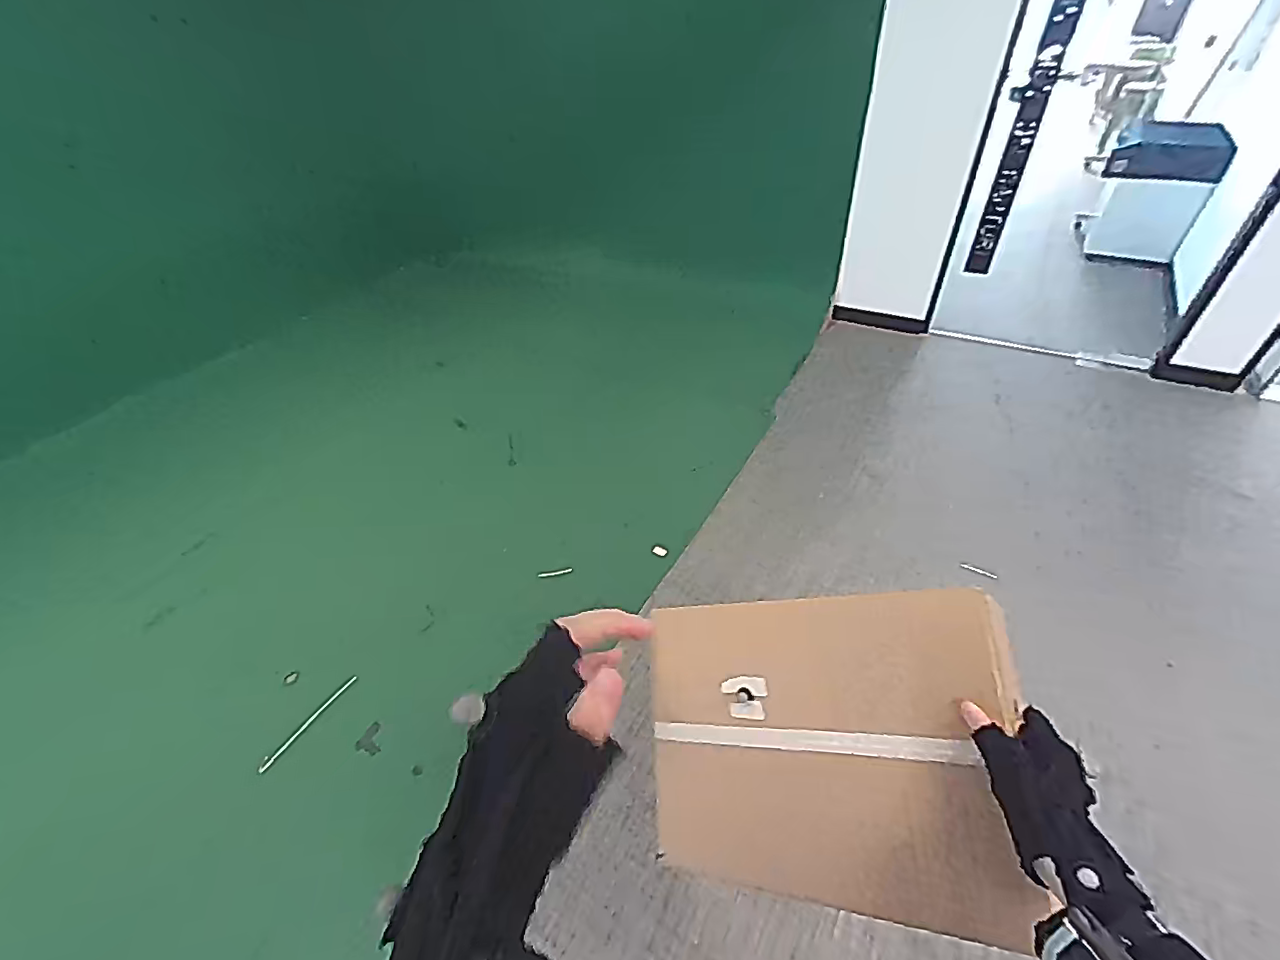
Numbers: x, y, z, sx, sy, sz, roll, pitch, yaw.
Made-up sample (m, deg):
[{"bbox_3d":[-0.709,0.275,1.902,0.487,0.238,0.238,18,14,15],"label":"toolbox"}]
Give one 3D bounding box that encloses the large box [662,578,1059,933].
[{"bbox_3d":[0.283,0.317,0.733,0.408,0.320,0.320,-13,69,35],"label":"large box"}]
